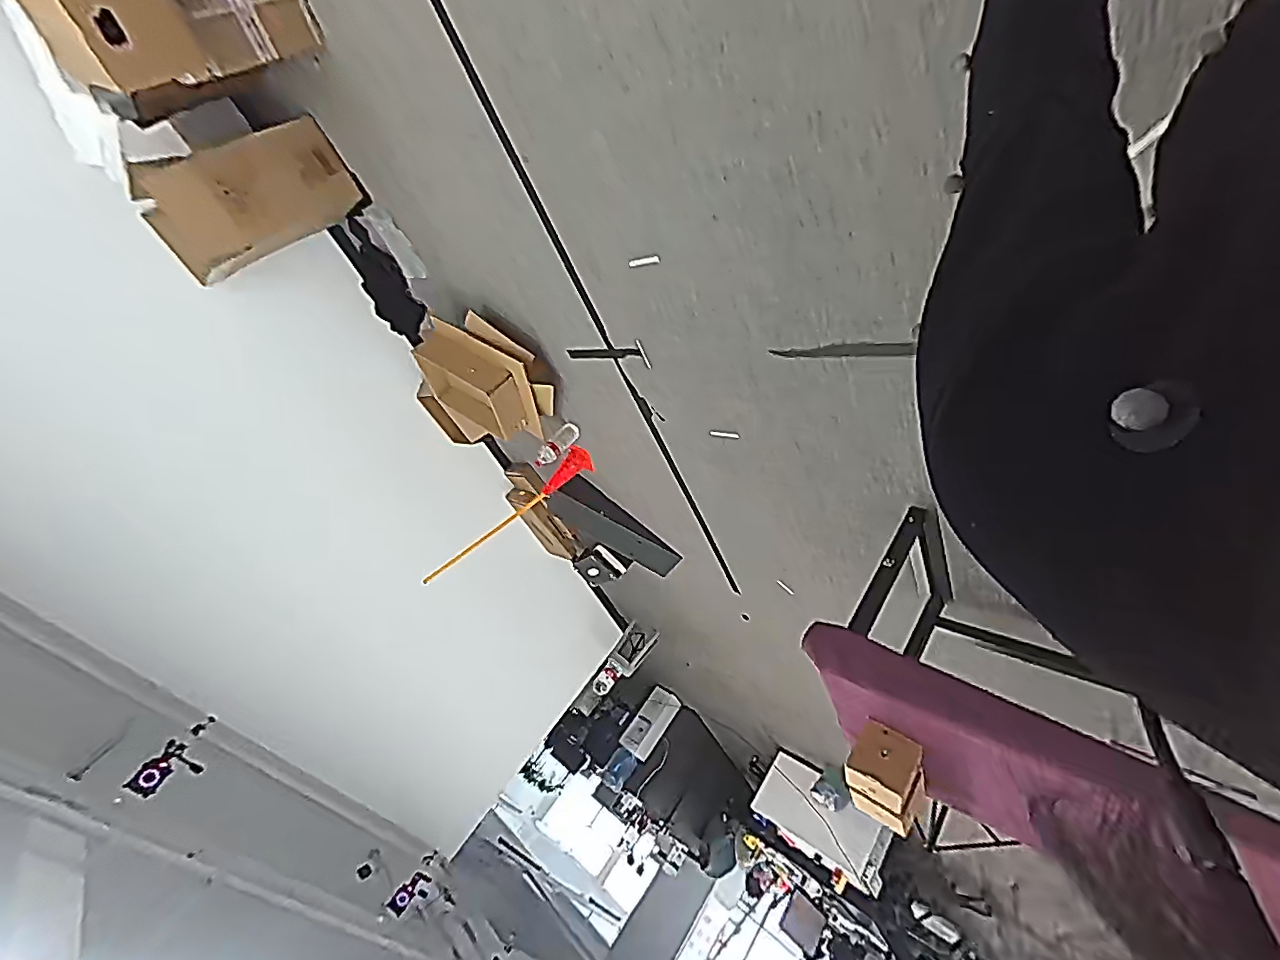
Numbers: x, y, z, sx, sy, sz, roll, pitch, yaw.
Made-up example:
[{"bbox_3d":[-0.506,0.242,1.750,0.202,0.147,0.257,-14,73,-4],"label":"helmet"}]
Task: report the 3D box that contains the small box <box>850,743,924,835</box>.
[{"bbox_3d":[0.806,0.997,1.751,0.168,0.176,0.179,16,145,42],"label":"small box"}]
